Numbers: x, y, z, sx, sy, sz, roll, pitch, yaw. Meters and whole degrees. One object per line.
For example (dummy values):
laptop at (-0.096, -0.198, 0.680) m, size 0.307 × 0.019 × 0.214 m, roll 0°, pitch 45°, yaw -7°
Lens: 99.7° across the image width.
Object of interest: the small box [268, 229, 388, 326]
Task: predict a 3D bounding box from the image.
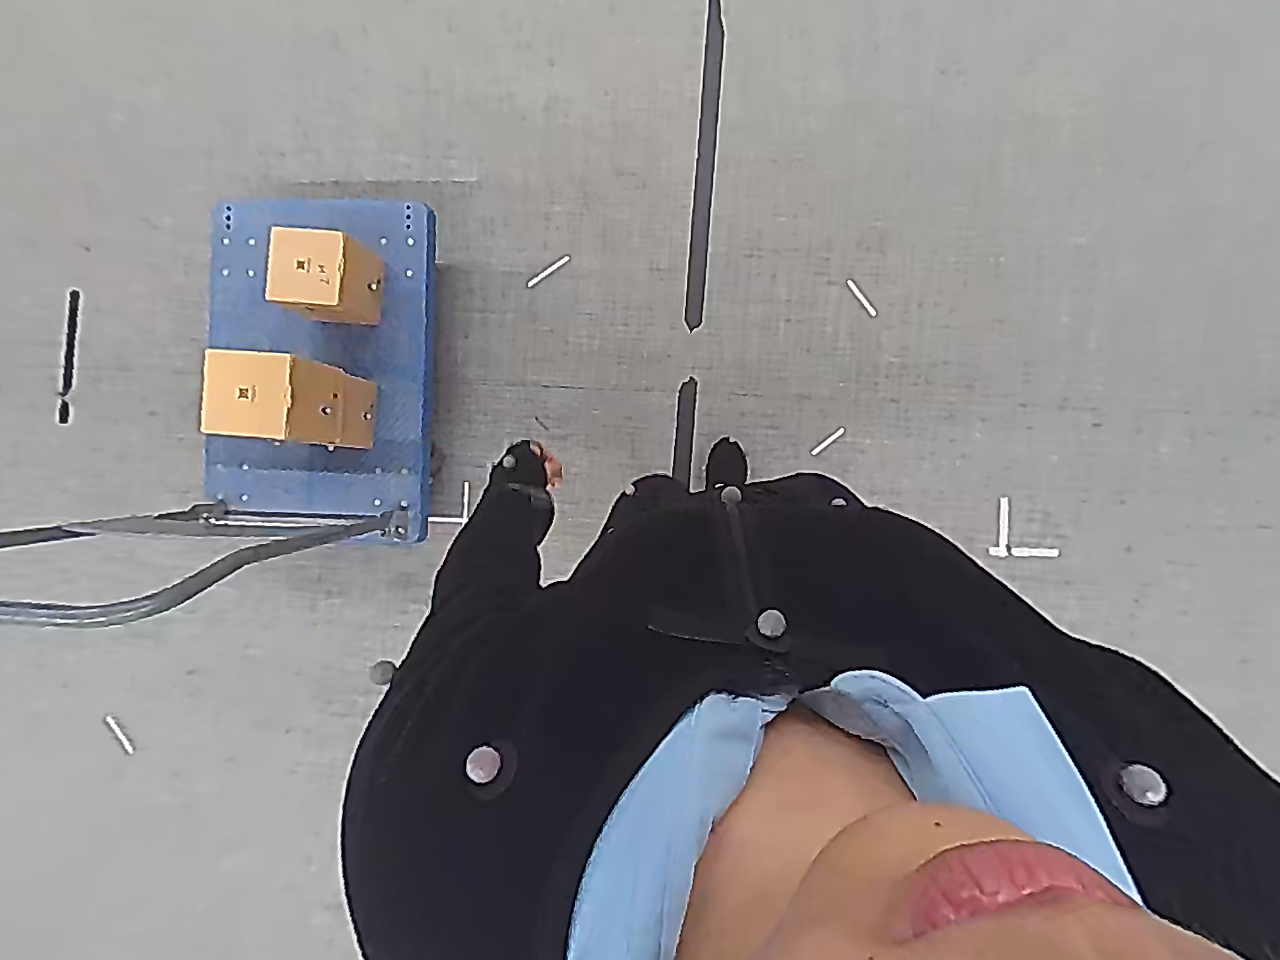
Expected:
small box at (-0.729, -0.470, 1.277) m, size 0.179 × 0.176 × 0.168 m, roll 6°, pitch 91°, yaw 4°

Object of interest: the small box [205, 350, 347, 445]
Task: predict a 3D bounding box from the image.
small box at (-0.742, -0.162, 1.116) m, size 0.179 × 0.176 × 0.168 m, roll 4°, pitch 90°, yaw 3°
